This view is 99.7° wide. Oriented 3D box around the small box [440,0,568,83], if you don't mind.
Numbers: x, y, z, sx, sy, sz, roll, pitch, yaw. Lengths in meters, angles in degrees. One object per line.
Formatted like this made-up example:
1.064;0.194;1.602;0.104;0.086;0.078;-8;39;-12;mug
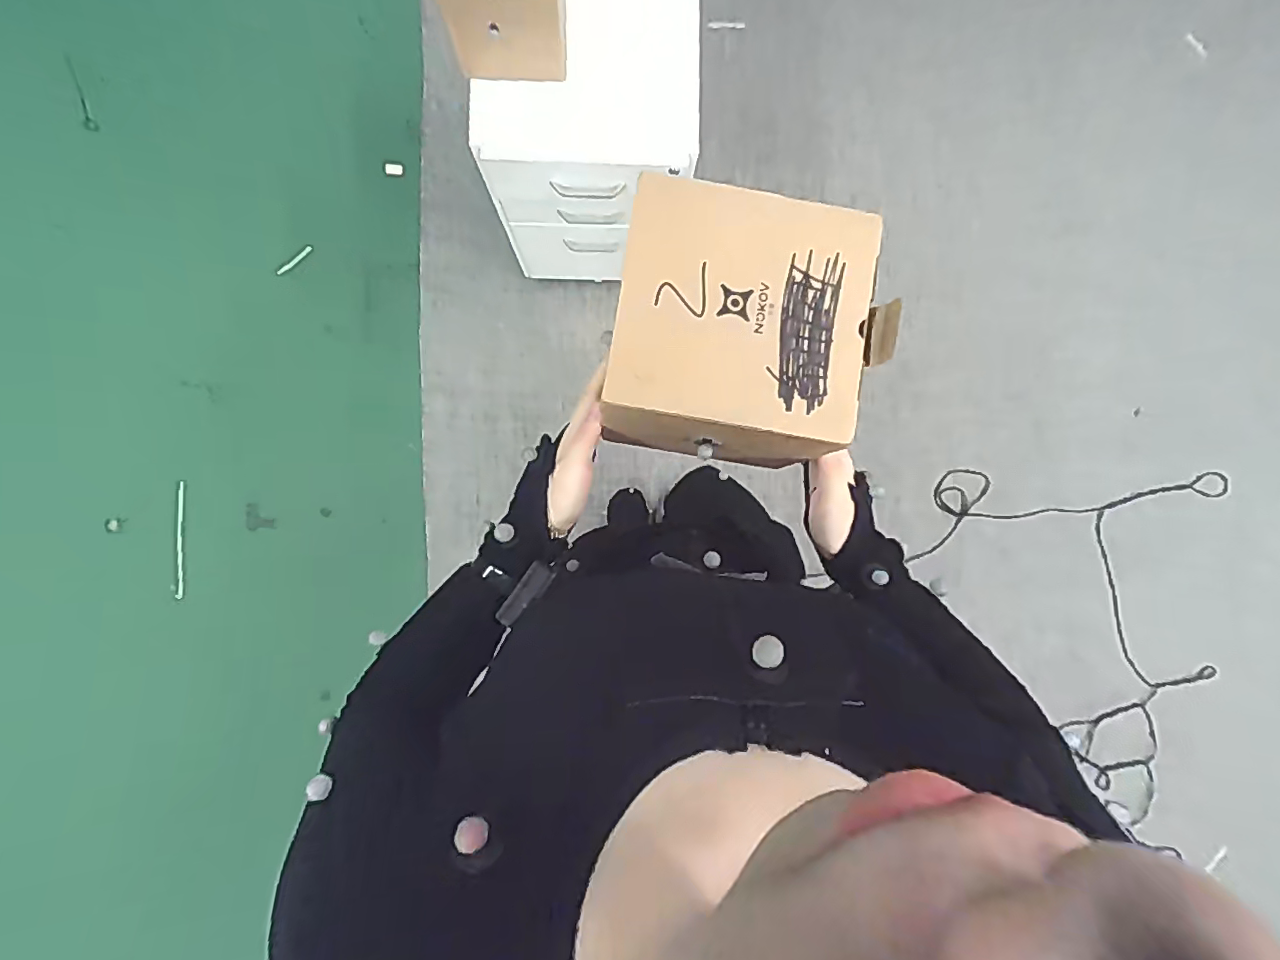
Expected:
-0.209;-0.763;0.847;0.179;0.176;0.168;-1;89;-3;small box
